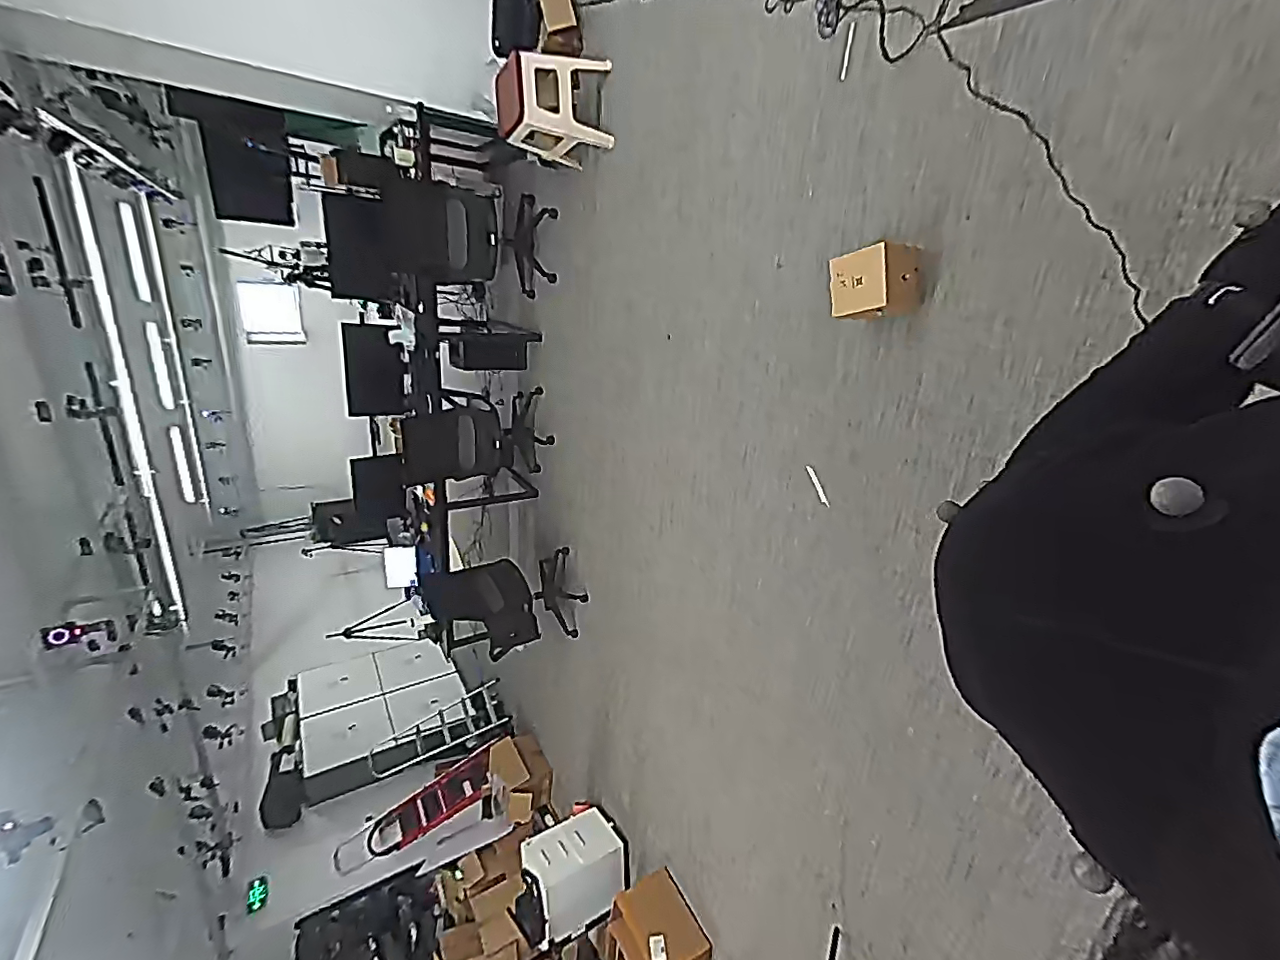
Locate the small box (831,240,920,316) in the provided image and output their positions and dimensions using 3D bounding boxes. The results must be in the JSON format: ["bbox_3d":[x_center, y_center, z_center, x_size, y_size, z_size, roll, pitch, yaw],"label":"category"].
[{"bbox_3d":[0.668,-0.564,1.525,0.179,0.176,0.168,7,103,58],"label":"small box"}]
